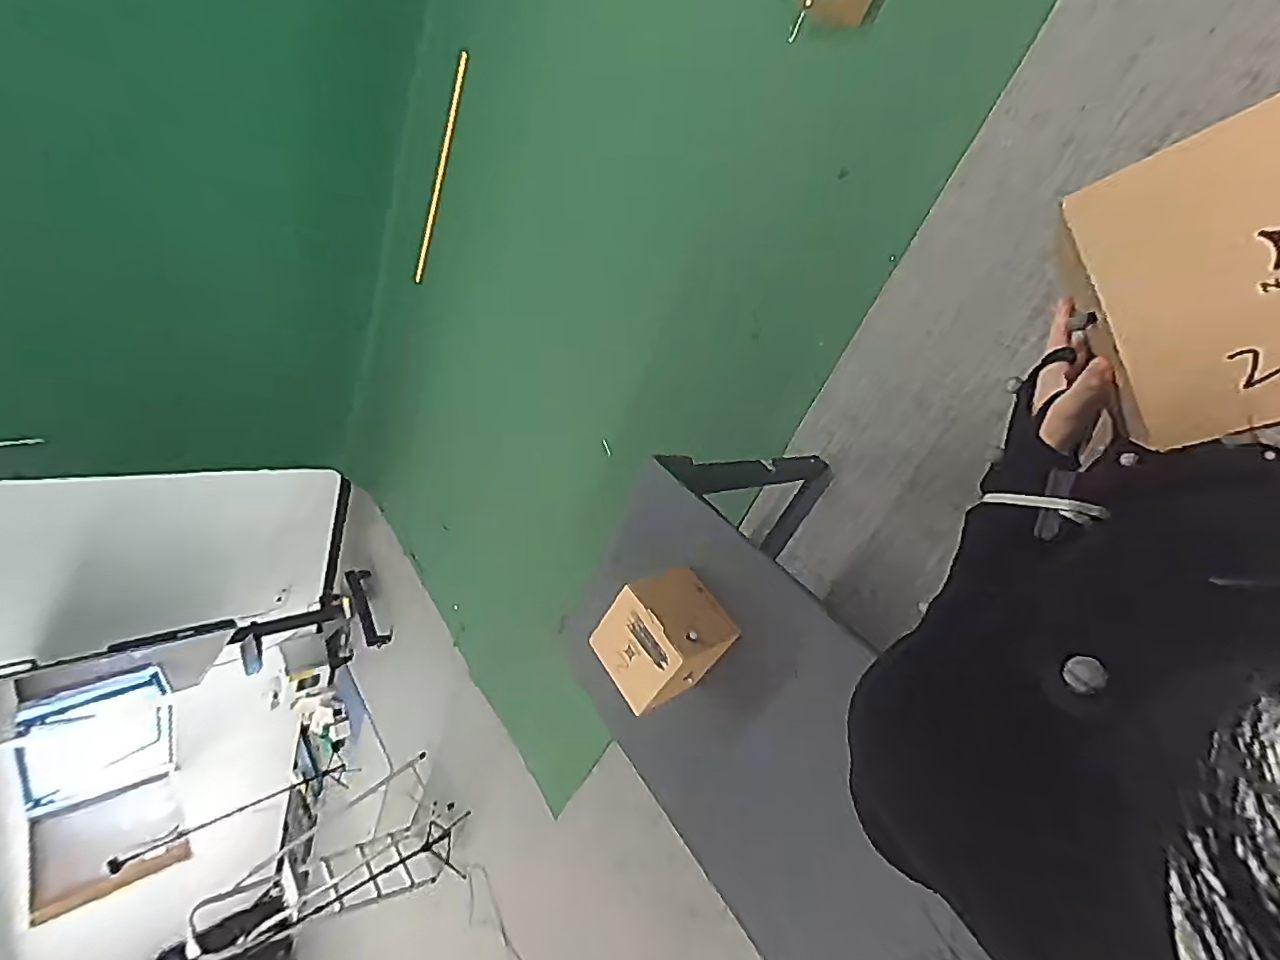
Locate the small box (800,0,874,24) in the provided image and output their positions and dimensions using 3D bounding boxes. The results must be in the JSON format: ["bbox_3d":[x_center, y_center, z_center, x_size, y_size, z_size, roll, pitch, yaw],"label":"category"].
[{"bbox_3d":[0.530,-1.335,1.413,0.179,0.176,0.168,45,123,33],"label":"small box"}]

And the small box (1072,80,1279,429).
[{"bbox_3d":[0.414,-0.143,0.359,0.168,0.176,0.179,-21,84,38],"label":"small box"}]
